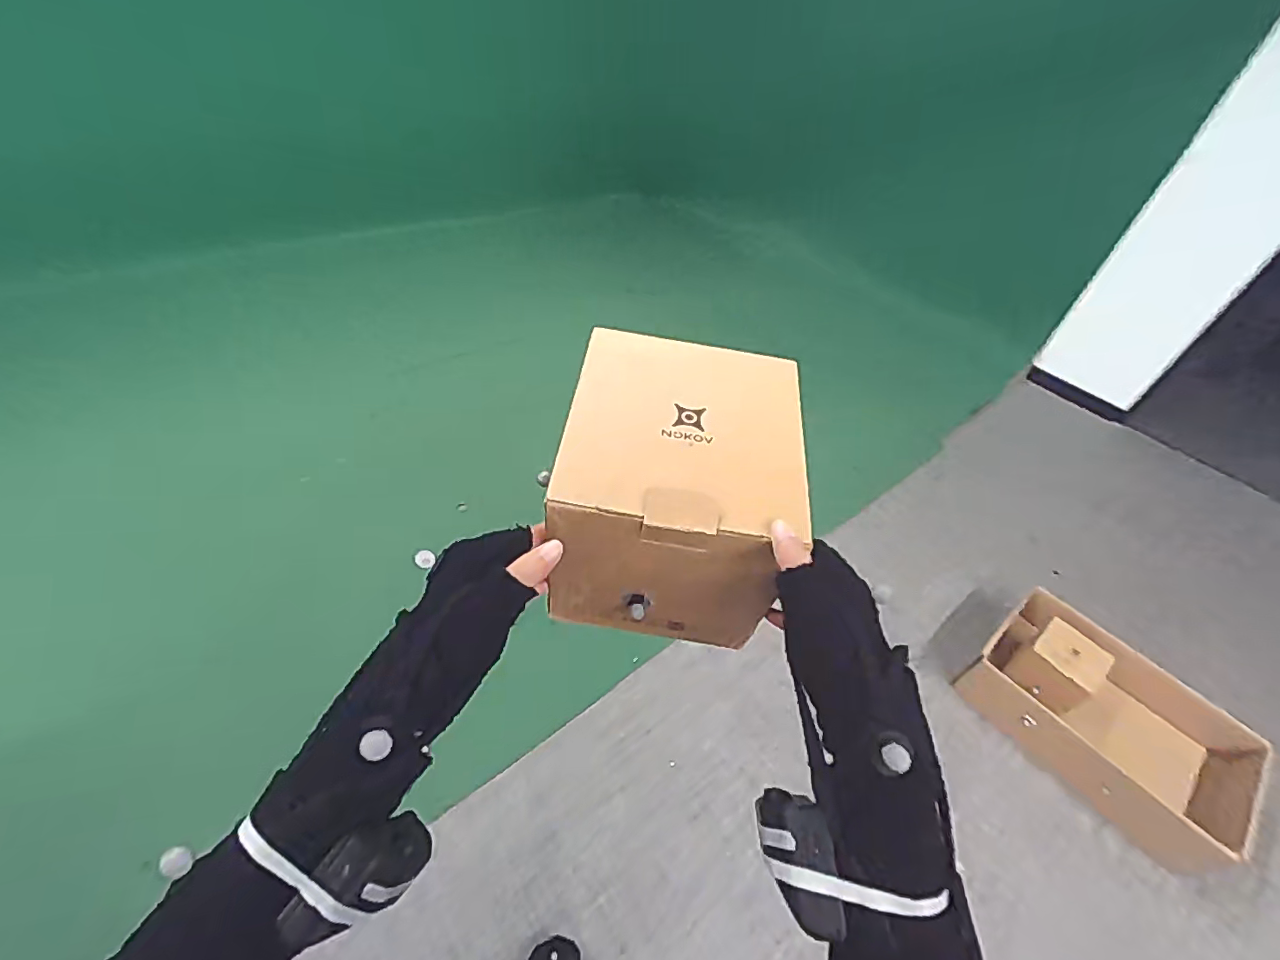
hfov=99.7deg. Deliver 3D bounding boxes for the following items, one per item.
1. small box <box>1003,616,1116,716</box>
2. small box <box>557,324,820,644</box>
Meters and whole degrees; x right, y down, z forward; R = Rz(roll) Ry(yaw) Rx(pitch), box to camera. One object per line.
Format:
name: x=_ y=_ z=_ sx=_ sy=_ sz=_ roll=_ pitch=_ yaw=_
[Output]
small box: x=1.176 y=0.525 z=1.528 sx=0.179 sy=0.176 sz=0.168 roll=-27 pitch=55 yaw=-30
small box: x=0.030 y=0.008 z=0.437 sx=0.168 sy=0.176 sz=0.179 roll=11 pitch=53 yaw=-1
